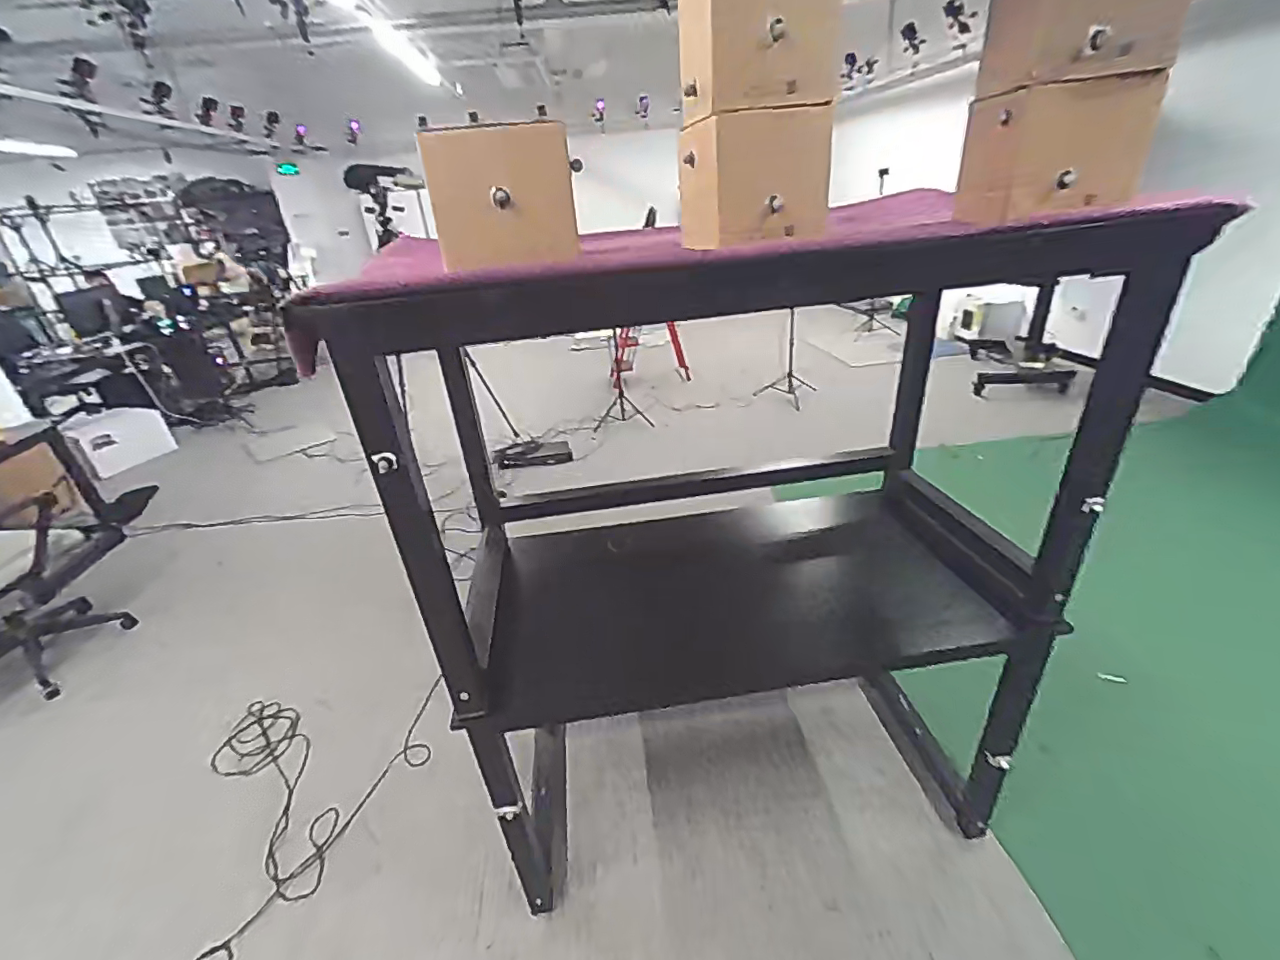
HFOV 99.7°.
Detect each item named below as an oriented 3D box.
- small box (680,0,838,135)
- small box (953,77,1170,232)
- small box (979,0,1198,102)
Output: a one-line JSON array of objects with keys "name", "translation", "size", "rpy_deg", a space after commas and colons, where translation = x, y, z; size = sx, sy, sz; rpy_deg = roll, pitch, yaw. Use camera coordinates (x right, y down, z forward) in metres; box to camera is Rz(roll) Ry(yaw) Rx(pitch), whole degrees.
[{"name": "small box", "translation": [0.155, -0.579, 0.728], "size": [0.168, 0.176, 0.179], "rpy_deg": [-8, 28, -6]}, {"name": "small box", "translation": [0.583, -0.460, 0.782], "size": [0.168, 0.176, 0.179], "rpy_deg": [-3, 29, 6]}, {"name": "small box", "translation": [0.570, -0.598, 0.698], "size": [0.168, 0.176, 0.179], "rpy_deg": [-2, 30, 10]}]
